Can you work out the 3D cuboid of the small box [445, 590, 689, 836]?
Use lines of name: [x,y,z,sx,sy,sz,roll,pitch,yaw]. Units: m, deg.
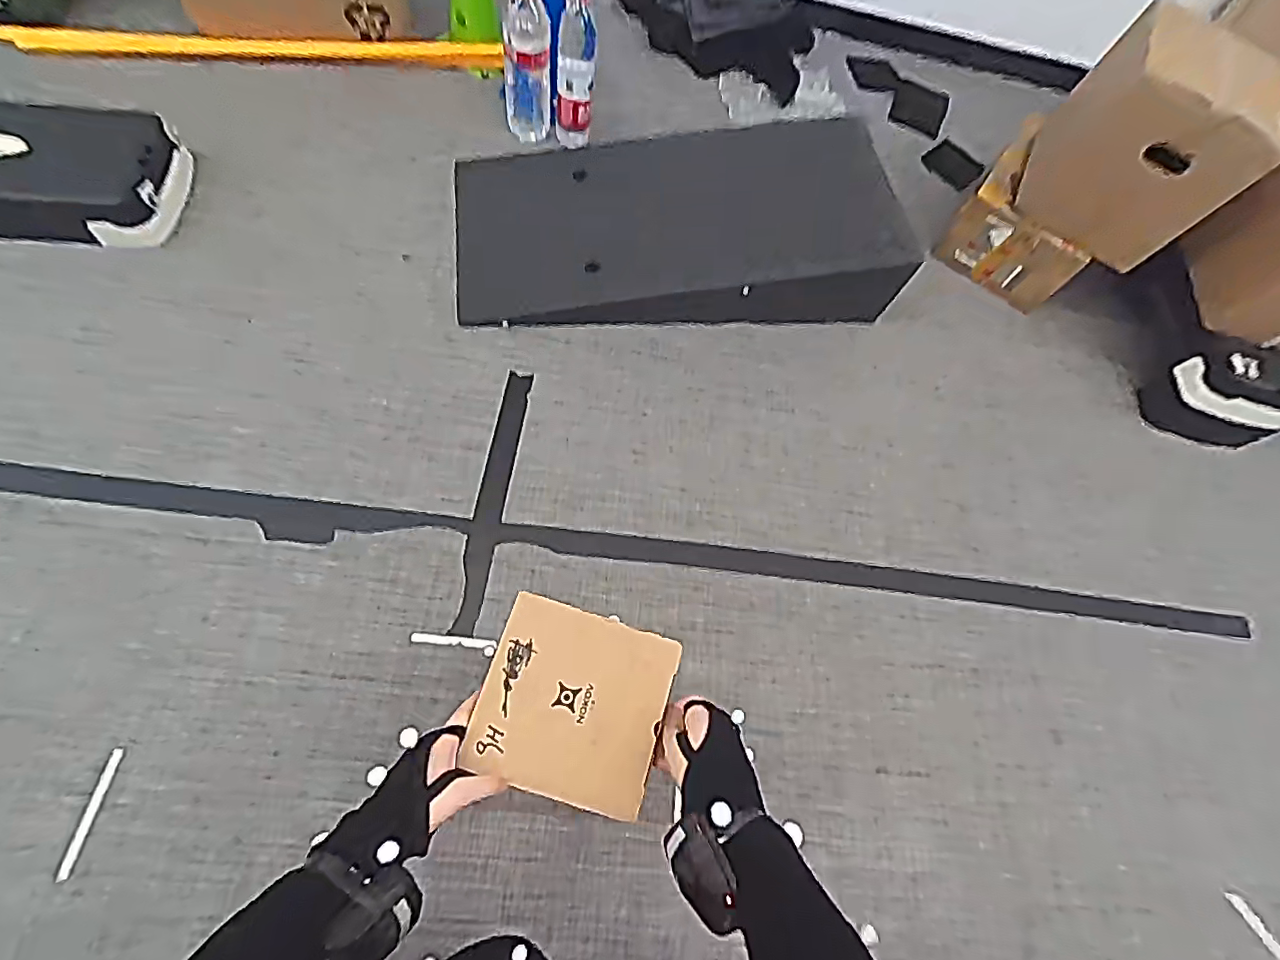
small box: [-0.070,0.228,0.560,0.179,0.176,0.168,20,69,-1]
